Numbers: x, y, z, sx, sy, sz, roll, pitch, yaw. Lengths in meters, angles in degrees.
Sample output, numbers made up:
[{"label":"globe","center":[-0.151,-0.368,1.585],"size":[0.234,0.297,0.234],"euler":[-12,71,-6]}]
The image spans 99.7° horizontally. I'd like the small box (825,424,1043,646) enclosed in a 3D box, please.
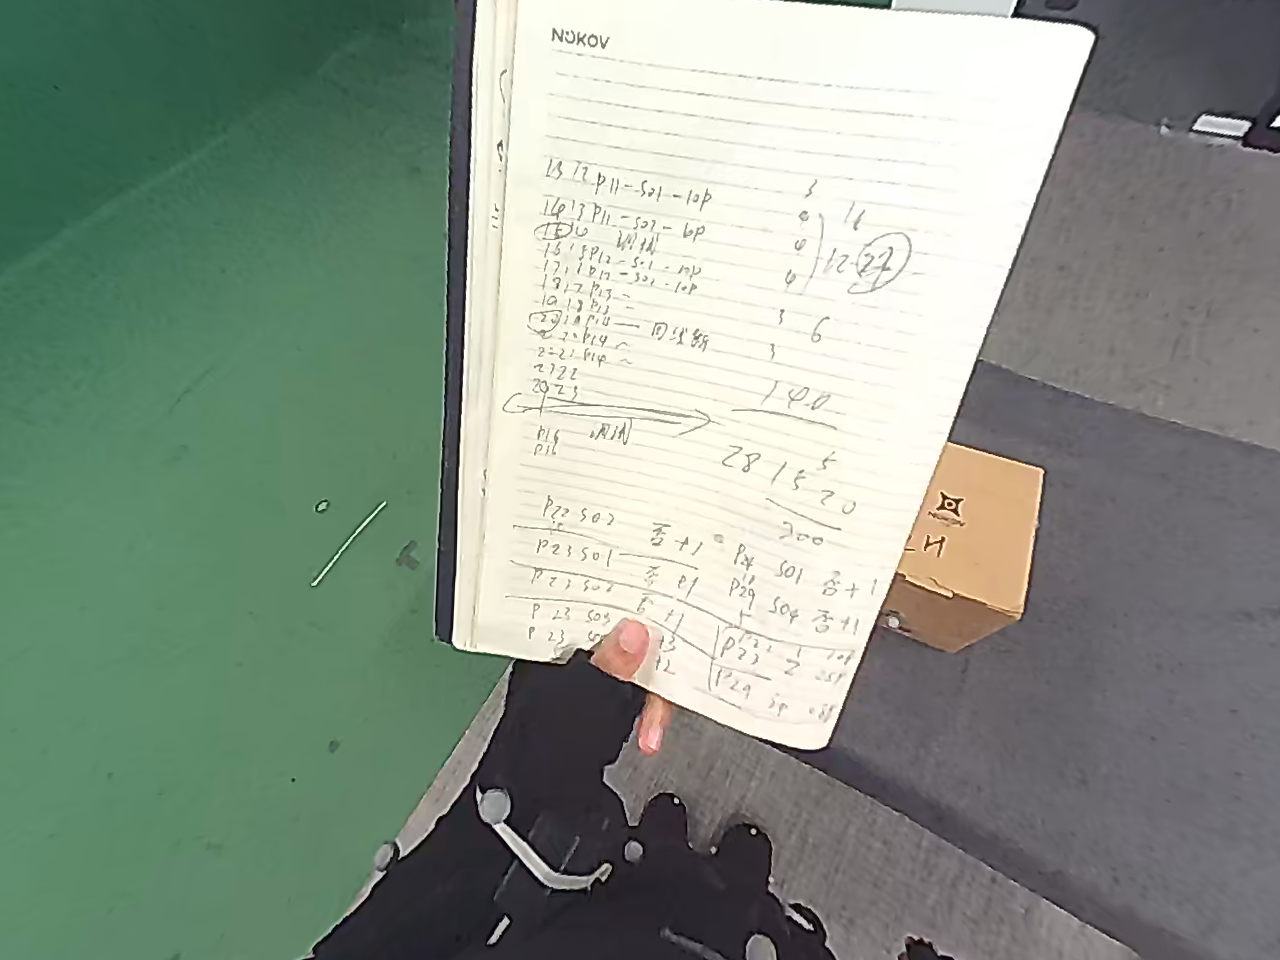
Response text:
[{"label":"small box","center":[0.331,0.069,0.635],"size":[0.168,0.176,0.179],"euler":[20,65,17]}]
